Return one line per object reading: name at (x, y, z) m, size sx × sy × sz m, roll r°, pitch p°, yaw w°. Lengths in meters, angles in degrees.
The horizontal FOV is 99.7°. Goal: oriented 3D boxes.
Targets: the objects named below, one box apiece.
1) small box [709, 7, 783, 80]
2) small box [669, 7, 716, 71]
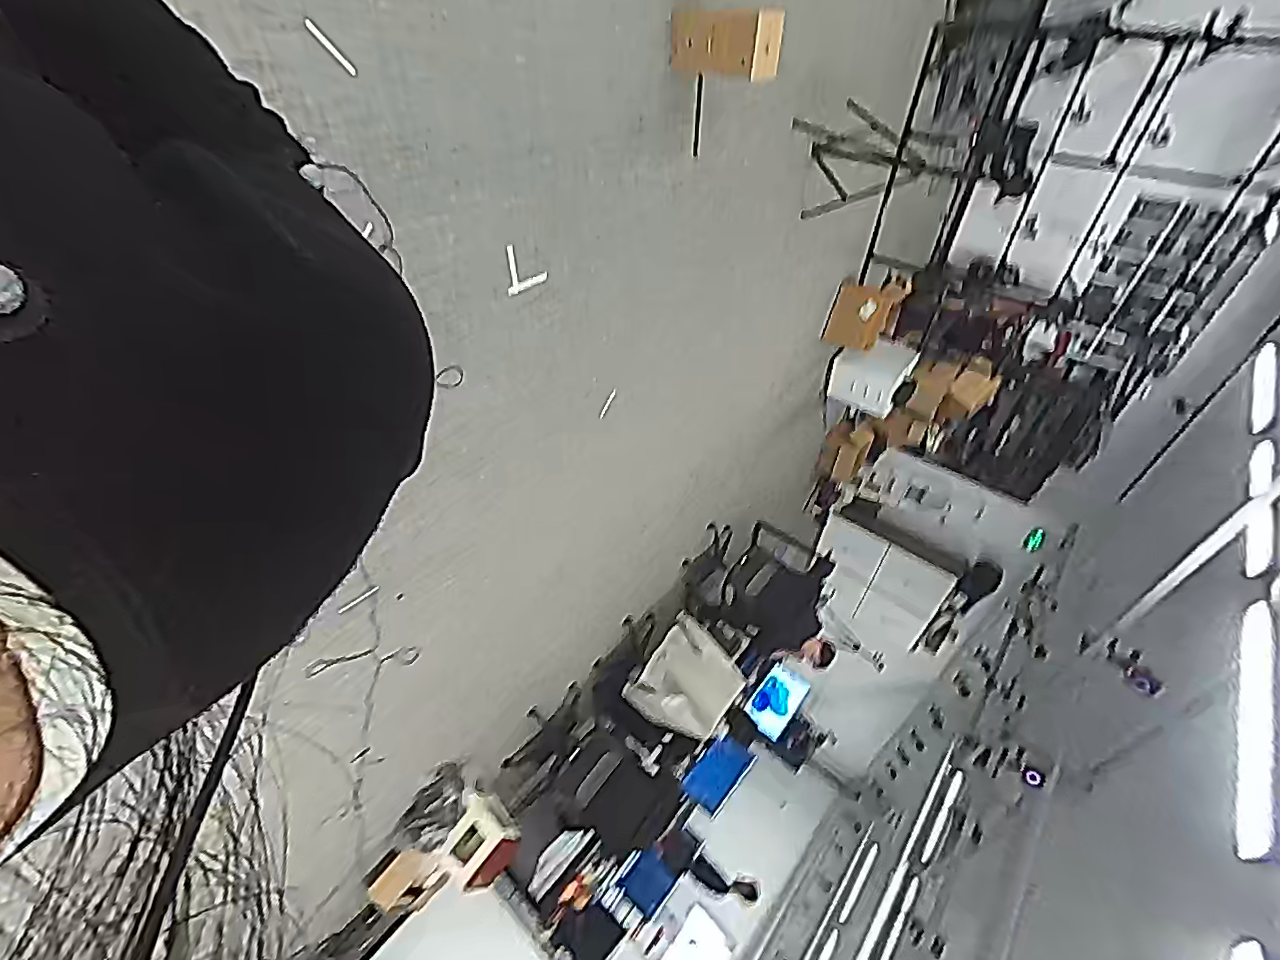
small box at (0.347, -1.458, 1.804) m, size 0.168 × 0.176 × 0.179 m, roll -38°, pitch 145°, yaw -36°
small box at (0.219, -1.534, 1.880) m, size 0.179 × 0.176 × 0.168 m, roll -36°, pitch 144°, yaw -35°
